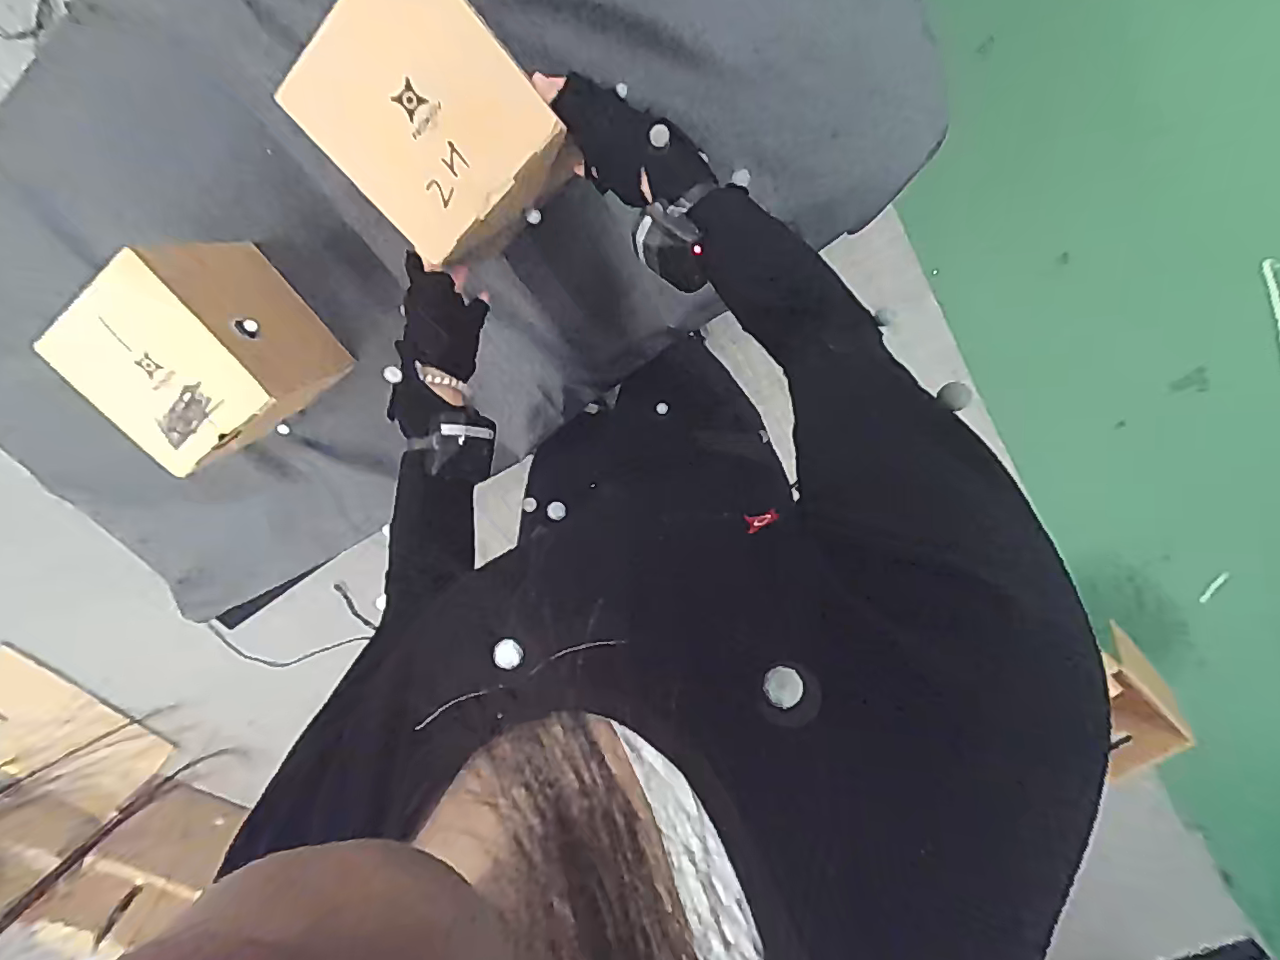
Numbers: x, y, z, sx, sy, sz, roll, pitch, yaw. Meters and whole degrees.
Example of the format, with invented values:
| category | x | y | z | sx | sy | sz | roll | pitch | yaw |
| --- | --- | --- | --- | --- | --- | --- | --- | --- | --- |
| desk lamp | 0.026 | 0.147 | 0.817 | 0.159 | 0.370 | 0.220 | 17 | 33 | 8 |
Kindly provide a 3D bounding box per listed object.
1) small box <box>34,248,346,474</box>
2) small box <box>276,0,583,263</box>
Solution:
| category | x | y | z | sx | sy | sz | roll | pitch | yaw |
| --- | --- | --- | --- | --- | --- | --- | --- | --- | --- |
| small box | -0.483 | -0.143 | 0.614 | 0.168 | 0.176 | 0.179 | -31 | 110 | 15 |
| small box | -0.177 | -0.329 | 0.511 | 0.168 | 0.176 | 0.179 | -38 | 106 | 18 |
